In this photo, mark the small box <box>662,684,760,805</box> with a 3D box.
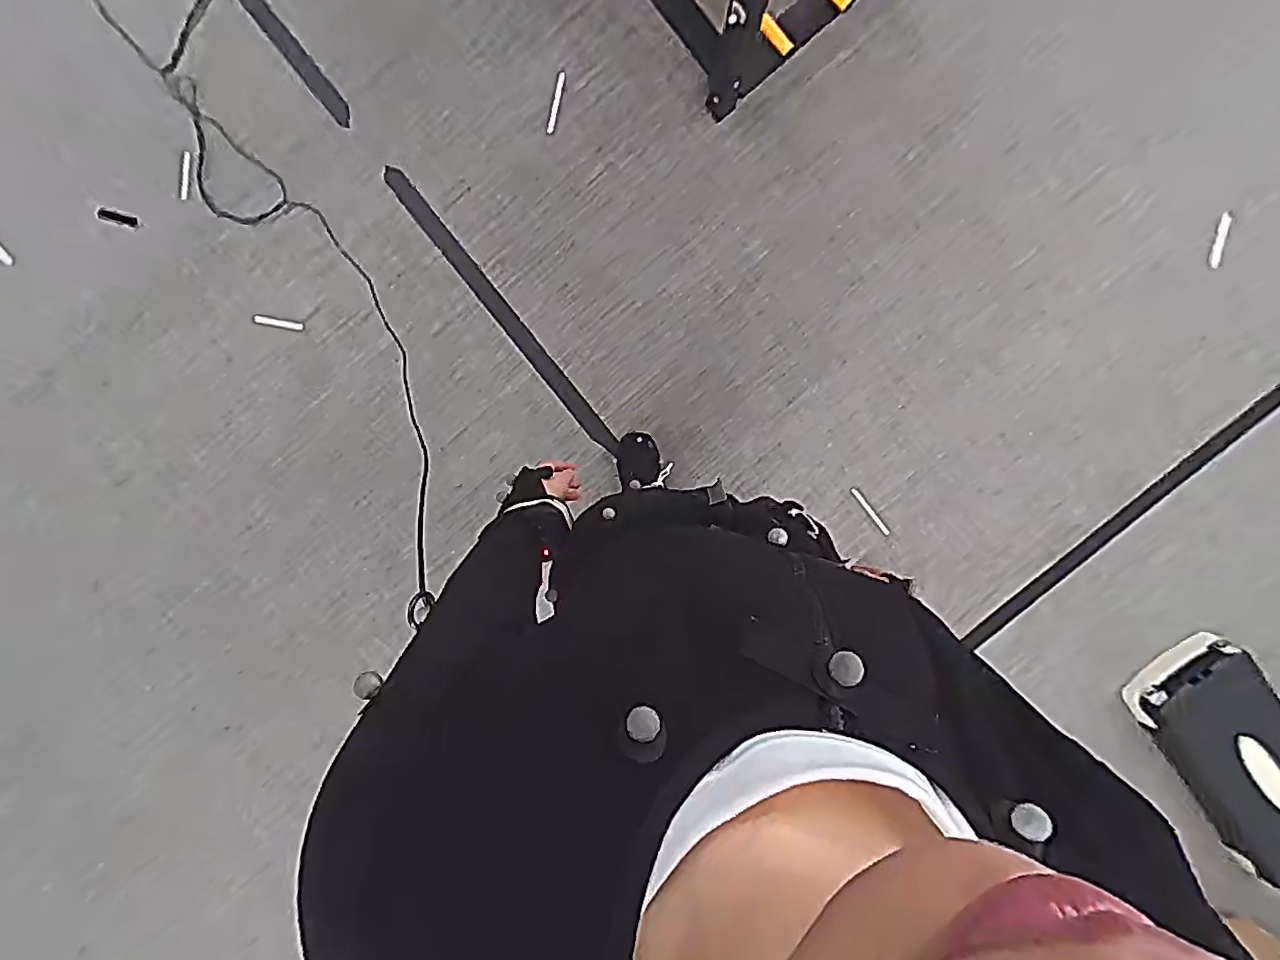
[{"bbox_3d":[0.170,0.650,1.351,0.168,0.176,0.179,-39,94,3],"label":"small box"}]
